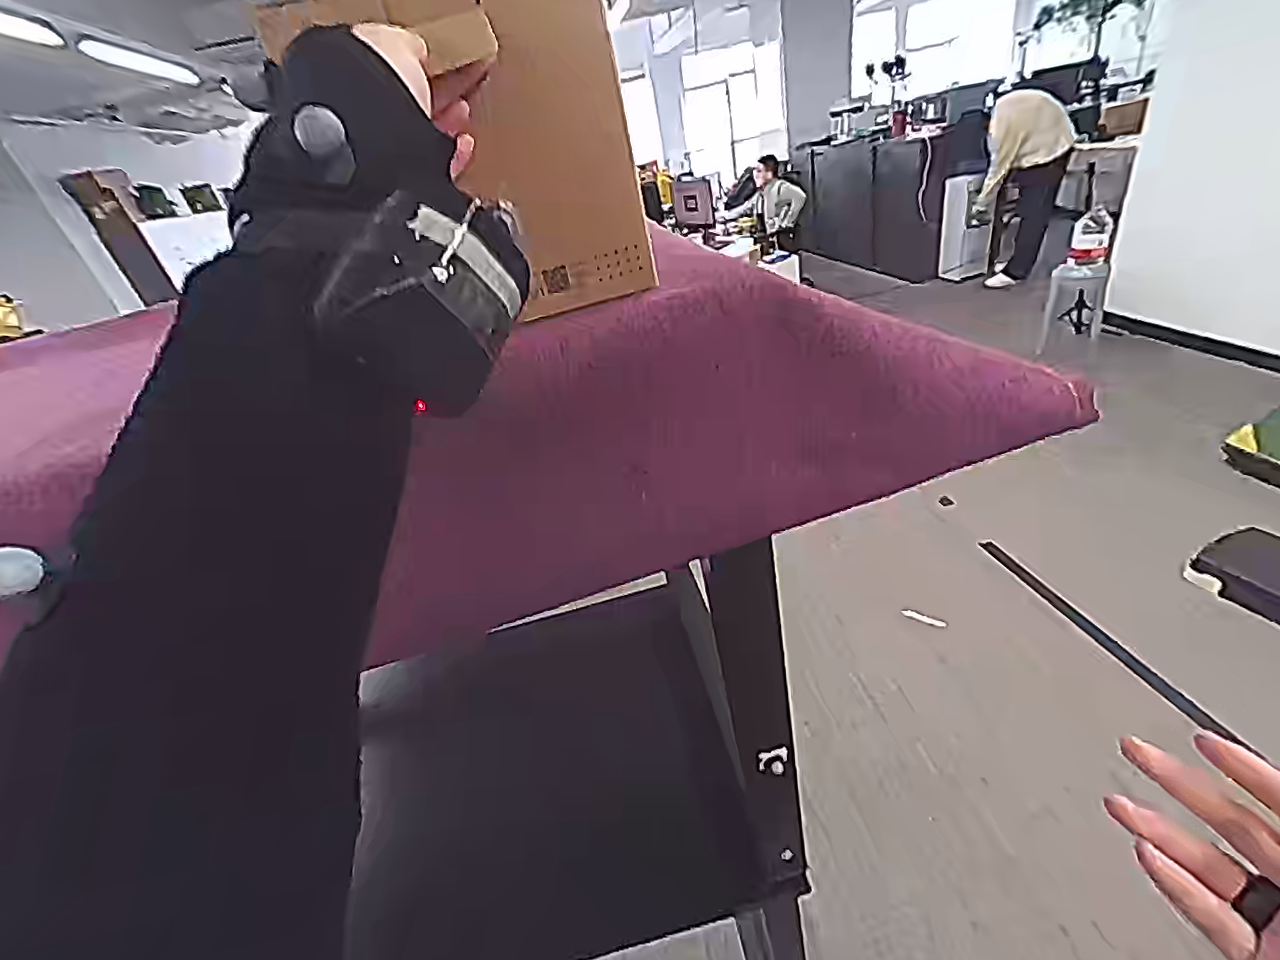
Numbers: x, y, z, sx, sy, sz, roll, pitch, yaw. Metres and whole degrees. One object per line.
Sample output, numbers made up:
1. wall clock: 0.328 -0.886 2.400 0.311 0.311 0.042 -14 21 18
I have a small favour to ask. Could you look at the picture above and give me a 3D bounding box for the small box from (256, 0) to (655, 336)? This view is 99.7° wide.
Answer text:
1. small box: -0.098 -0.209 0.363 0.168 0.176 0.179 -17 30 -4
